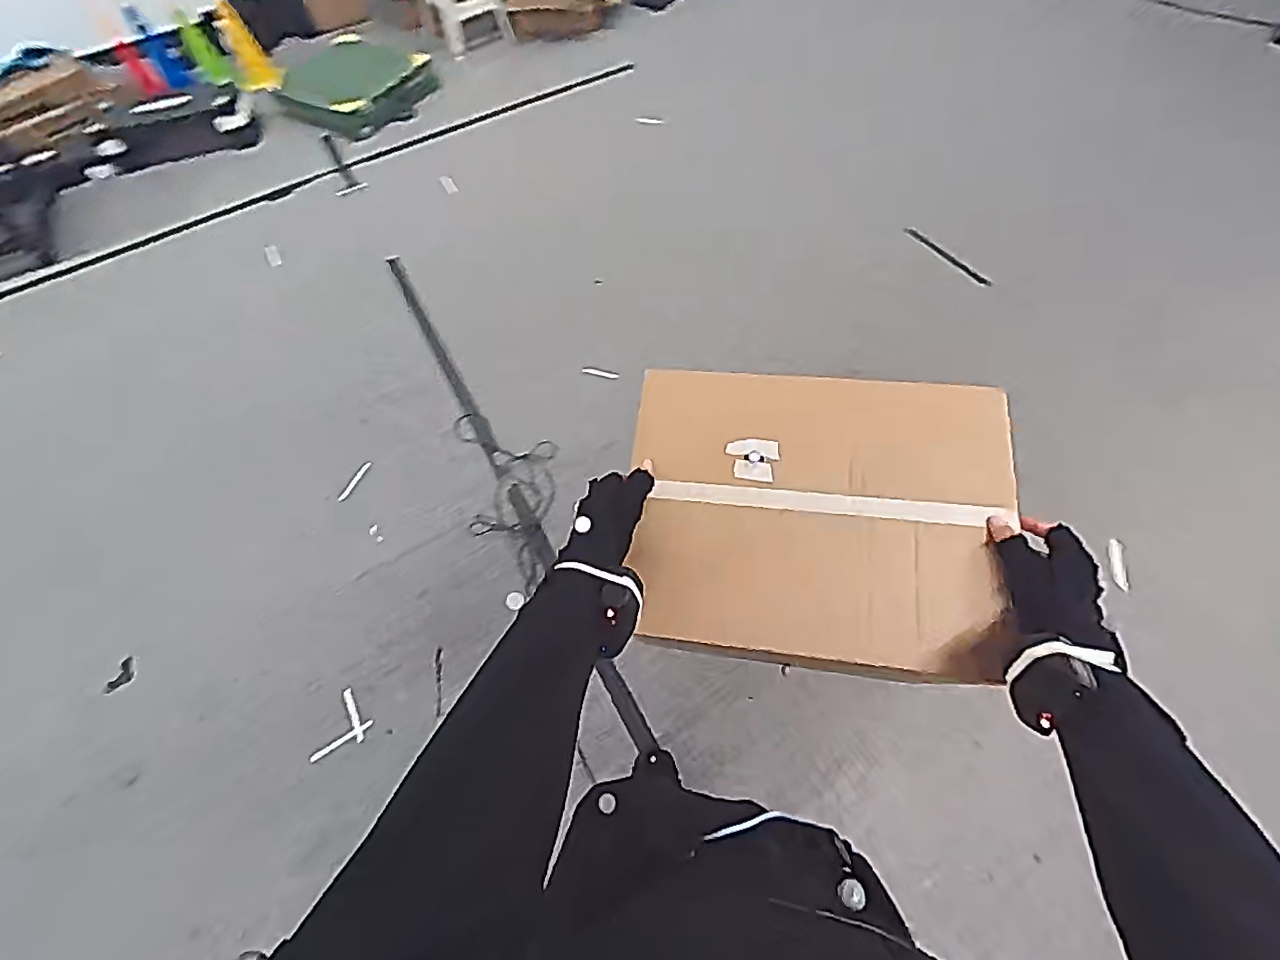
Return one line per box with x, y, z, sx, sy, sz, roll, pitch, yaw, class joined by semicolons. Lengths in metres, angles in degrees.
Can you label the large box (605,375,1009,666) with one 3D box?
0.197;0.071;0.733;0.408;0.320;0.320;4;70;11;large box
